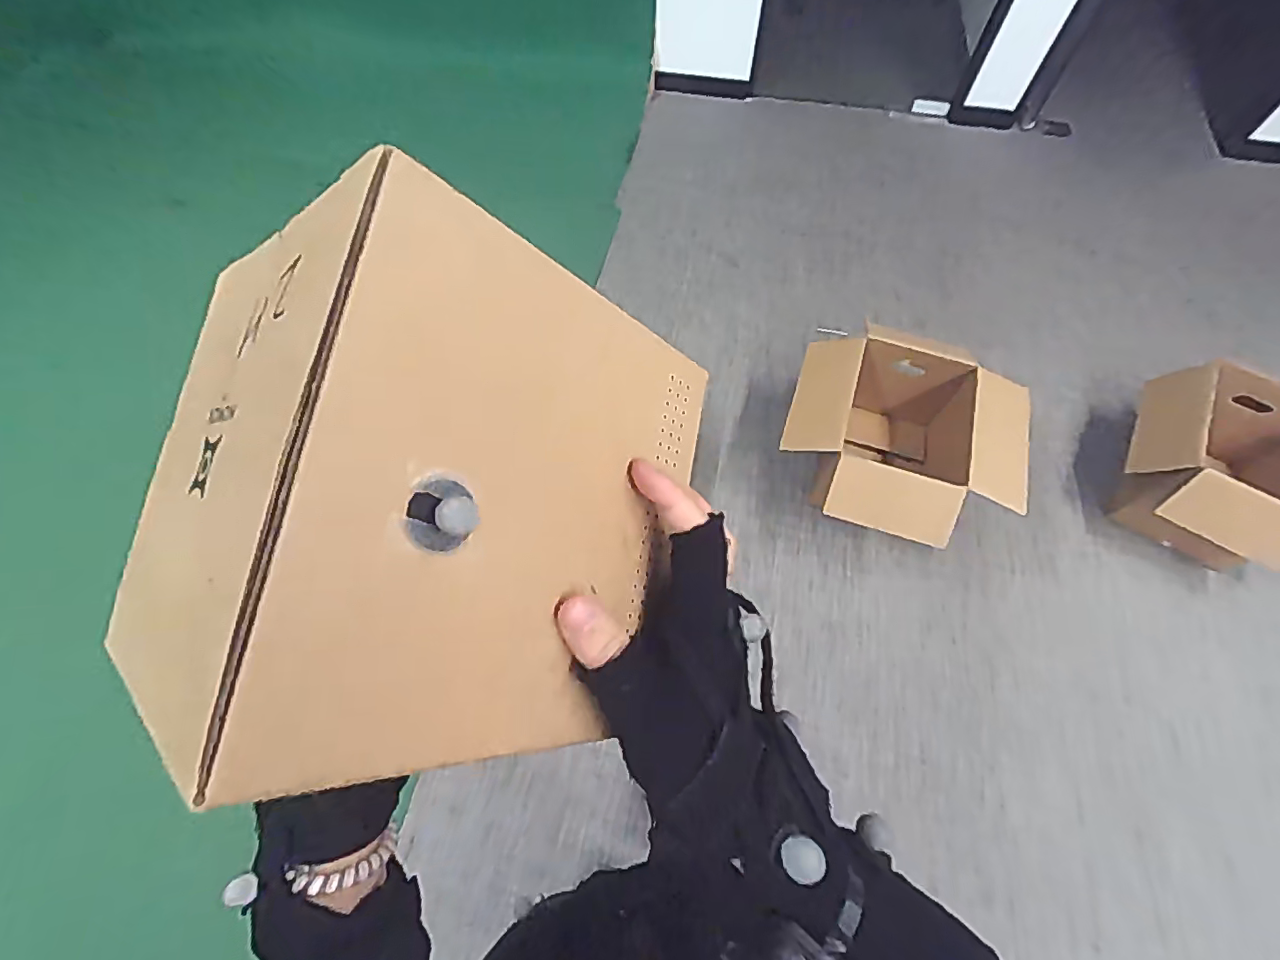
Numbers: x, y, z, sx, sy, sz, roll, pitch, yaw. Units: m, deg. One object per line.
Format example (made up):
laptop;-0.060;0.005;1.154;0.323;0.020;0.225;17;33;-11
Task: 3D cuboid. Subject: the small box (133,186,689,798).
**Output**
small box;-0.095;0.013;0.257;0.168;0.176;0.179;2;77;41
